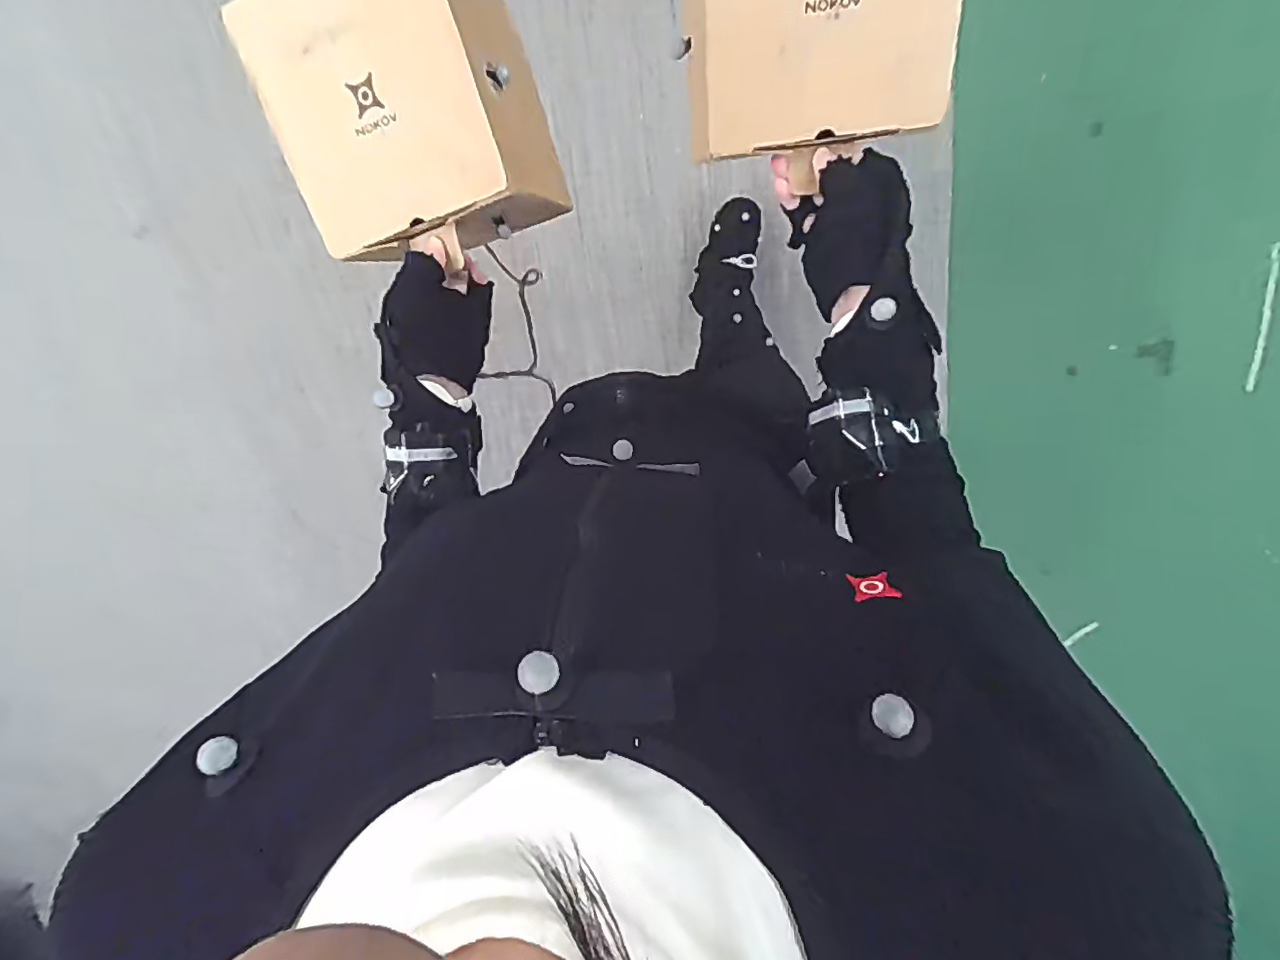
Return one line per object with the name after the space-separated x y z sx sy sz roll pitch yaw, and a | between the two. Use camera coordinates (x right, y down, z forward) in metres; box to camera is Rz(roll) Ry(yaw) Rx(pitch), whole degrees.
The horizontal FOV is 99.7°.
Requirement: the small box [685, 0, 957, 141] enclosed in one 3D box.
0.124 -0.369 0.414 0.168 0.176 0.179 -6 120 2 | small box

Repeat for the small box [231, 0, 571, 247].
-0.176 -0.314 0.462 0.168 0.176 0.179 -14 108 15 | small box
